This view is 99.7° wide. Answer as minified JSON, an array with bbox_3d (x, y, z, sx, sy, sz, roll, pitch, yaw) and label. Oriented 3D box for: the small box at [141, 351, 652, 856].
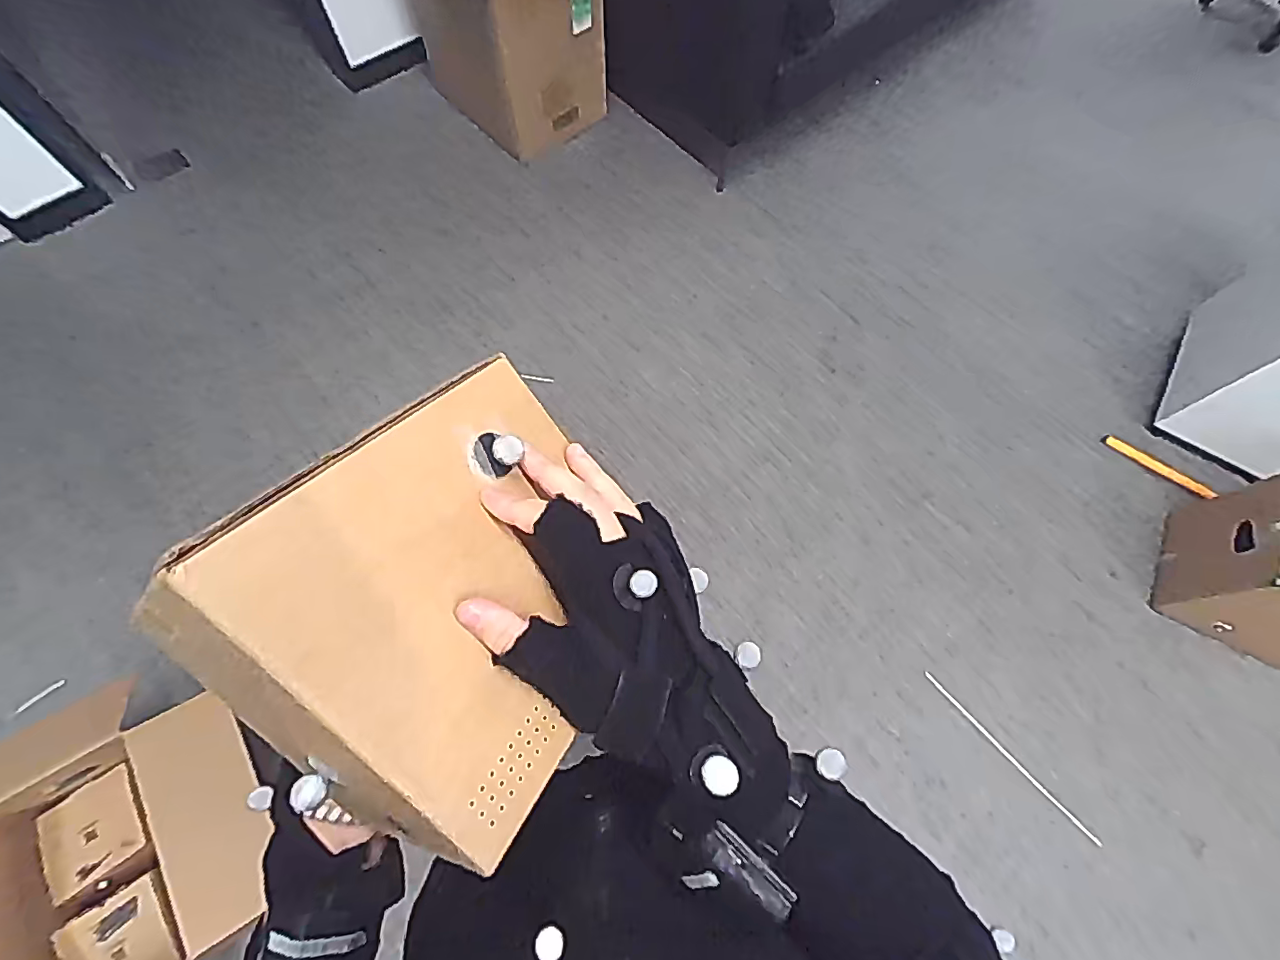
[{"bbox_3d":[-0.118,0.062,0.307,0.176,0.168,0.179,54,44,-16],"label":"small box"}]
